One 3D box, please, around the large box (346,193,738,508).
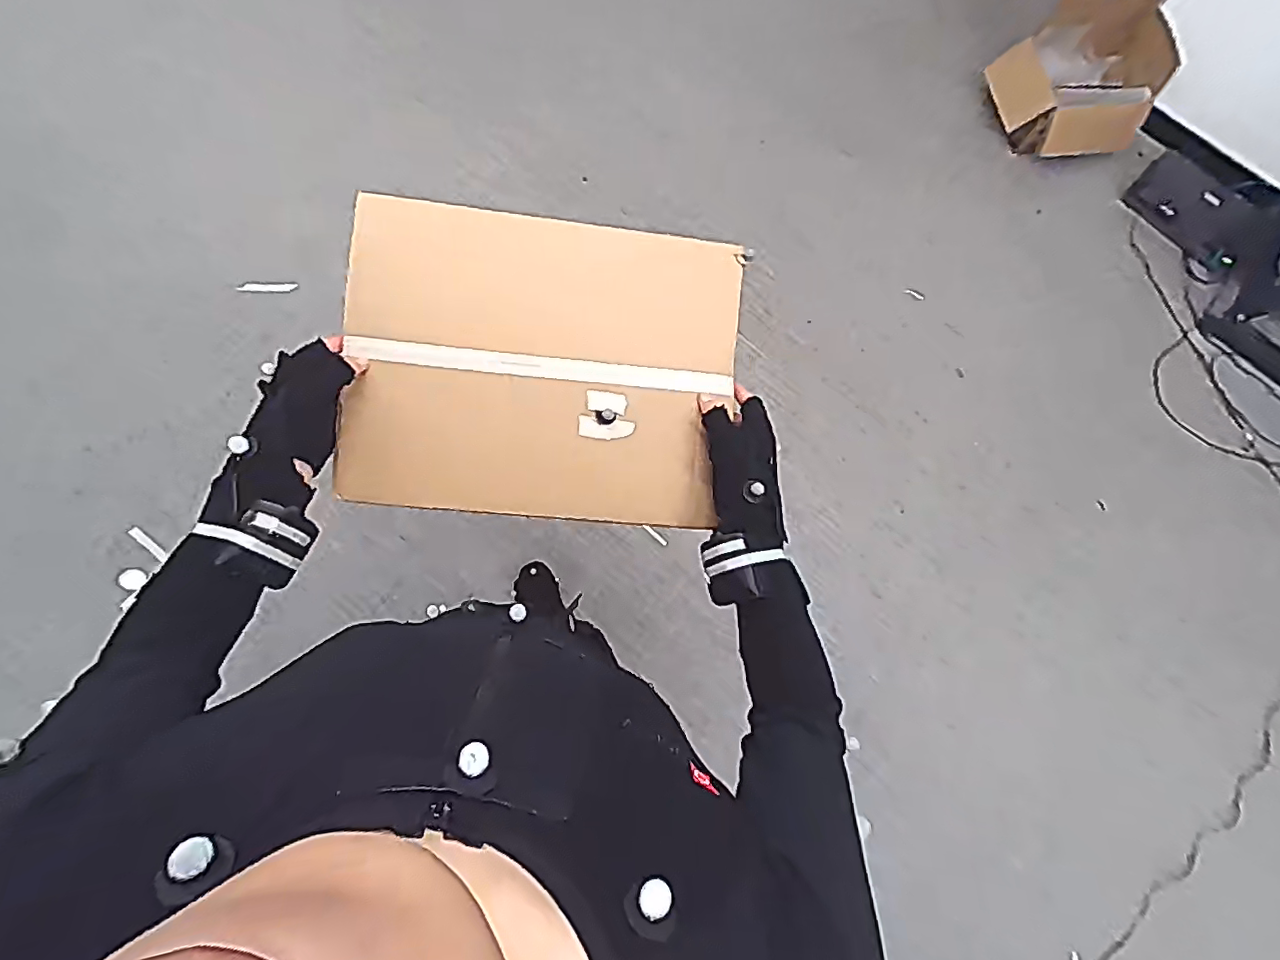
[{"bbox_3d":[-0.116,-0.130,0.719,0.408,0.320,0.320,4,90,-8],"label":"large box"}]
